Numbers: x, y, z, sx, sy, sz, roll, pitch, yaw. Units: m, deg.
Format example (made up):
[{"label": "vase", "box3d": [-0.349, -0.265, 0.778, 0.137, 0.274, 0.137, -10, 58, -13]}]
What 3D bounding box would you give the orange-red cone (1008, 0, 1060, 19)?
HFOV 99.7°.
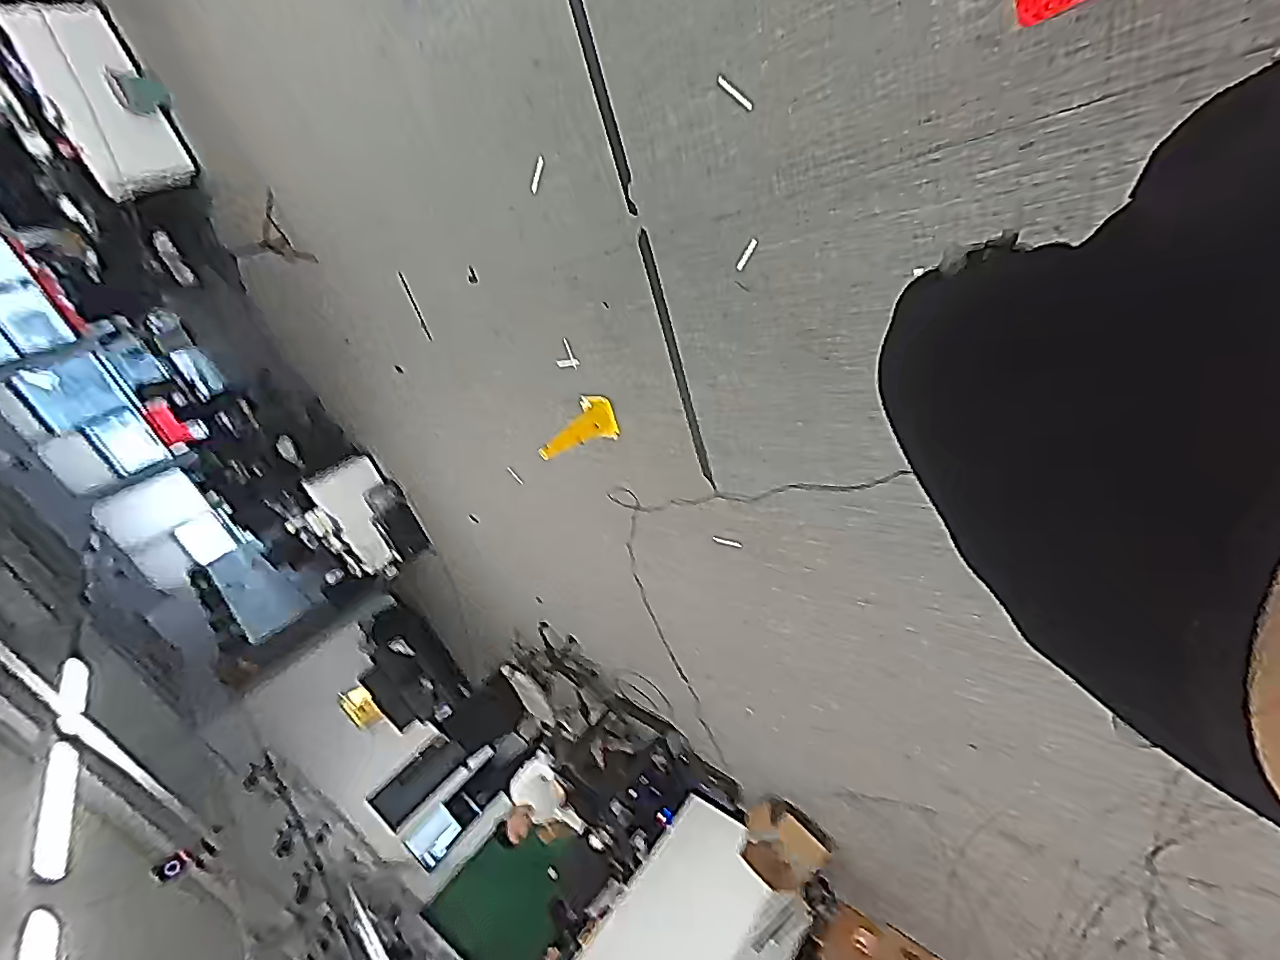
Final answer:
[{"label": "orange-red cone", "box3d": [0.605, -0.829, 0.787, 0.198, 0.360, 0.199, 3, 122, 46]}]
